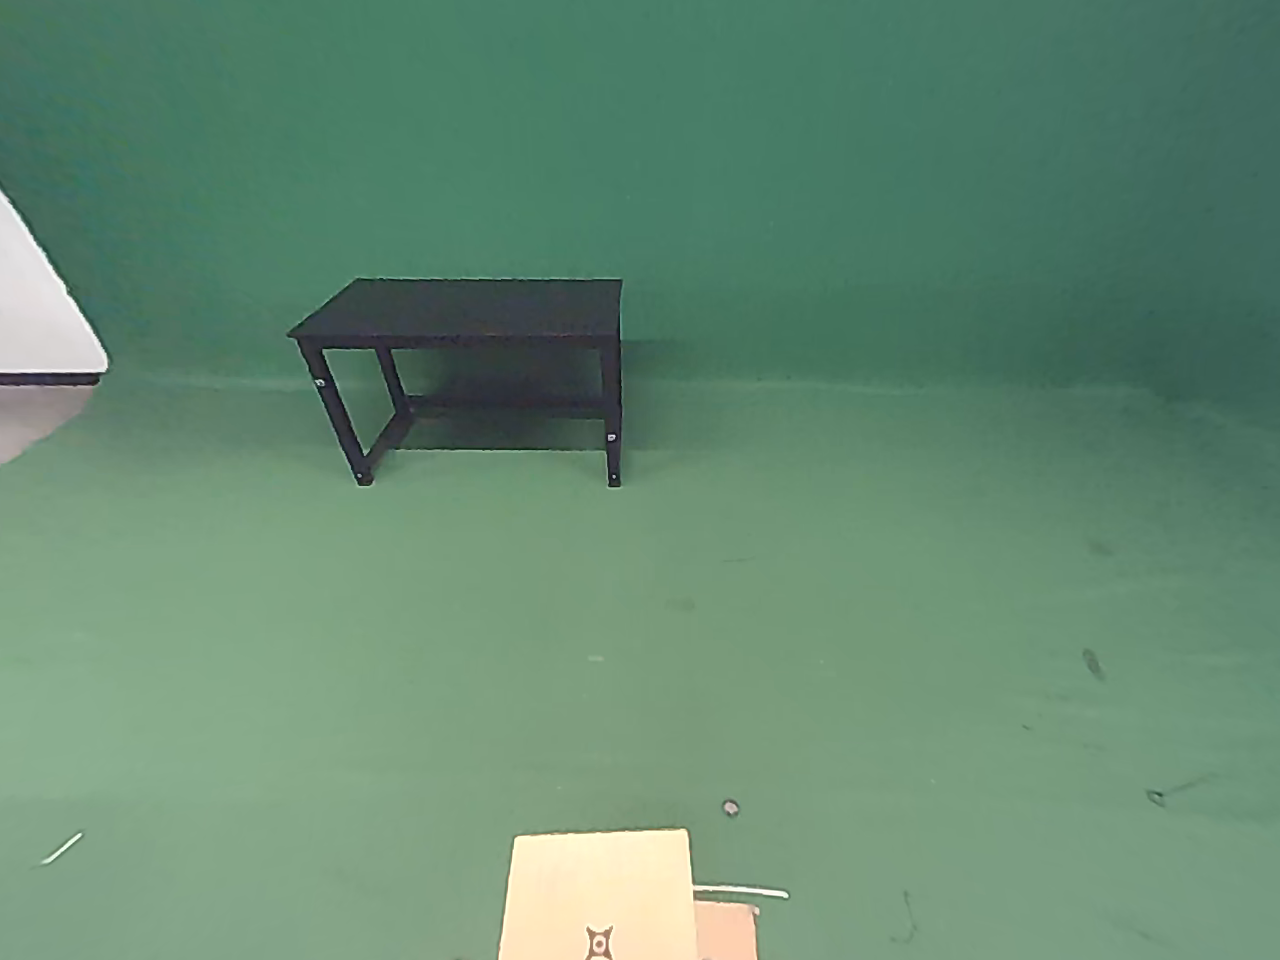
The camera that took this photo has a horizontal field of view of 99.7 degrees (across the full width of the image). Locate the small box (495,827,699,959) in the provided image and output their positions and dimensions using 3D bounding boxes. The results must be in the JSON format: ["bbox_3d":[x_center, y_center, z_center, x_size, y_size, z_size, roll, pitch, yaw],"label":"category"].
[{"bbox_3d":[-0.035,0.441,0.485,0.168,0.176,0.179,-2,40,-1],"label":"small box"}]
